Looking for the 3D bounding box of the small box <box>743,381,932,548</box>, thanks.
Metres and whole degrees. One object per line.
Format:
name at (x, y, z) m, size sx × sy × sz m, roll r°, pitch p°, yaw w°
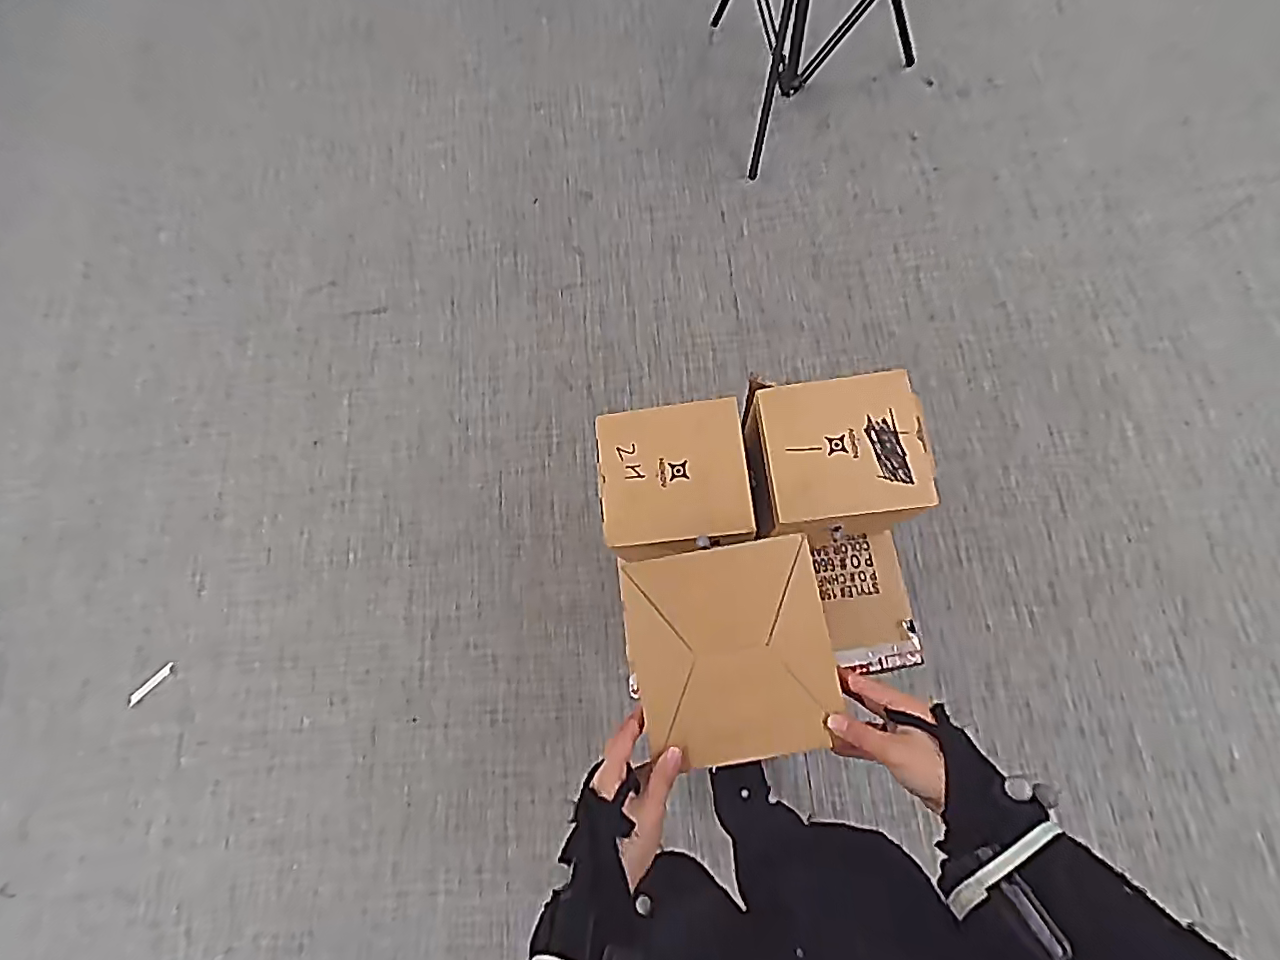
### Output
small box at (0.237, -0.010, 0.698) m, size 0.179 × 0.176 × 0.168 m, roll -7°, pitch 75°, yaw 4°
